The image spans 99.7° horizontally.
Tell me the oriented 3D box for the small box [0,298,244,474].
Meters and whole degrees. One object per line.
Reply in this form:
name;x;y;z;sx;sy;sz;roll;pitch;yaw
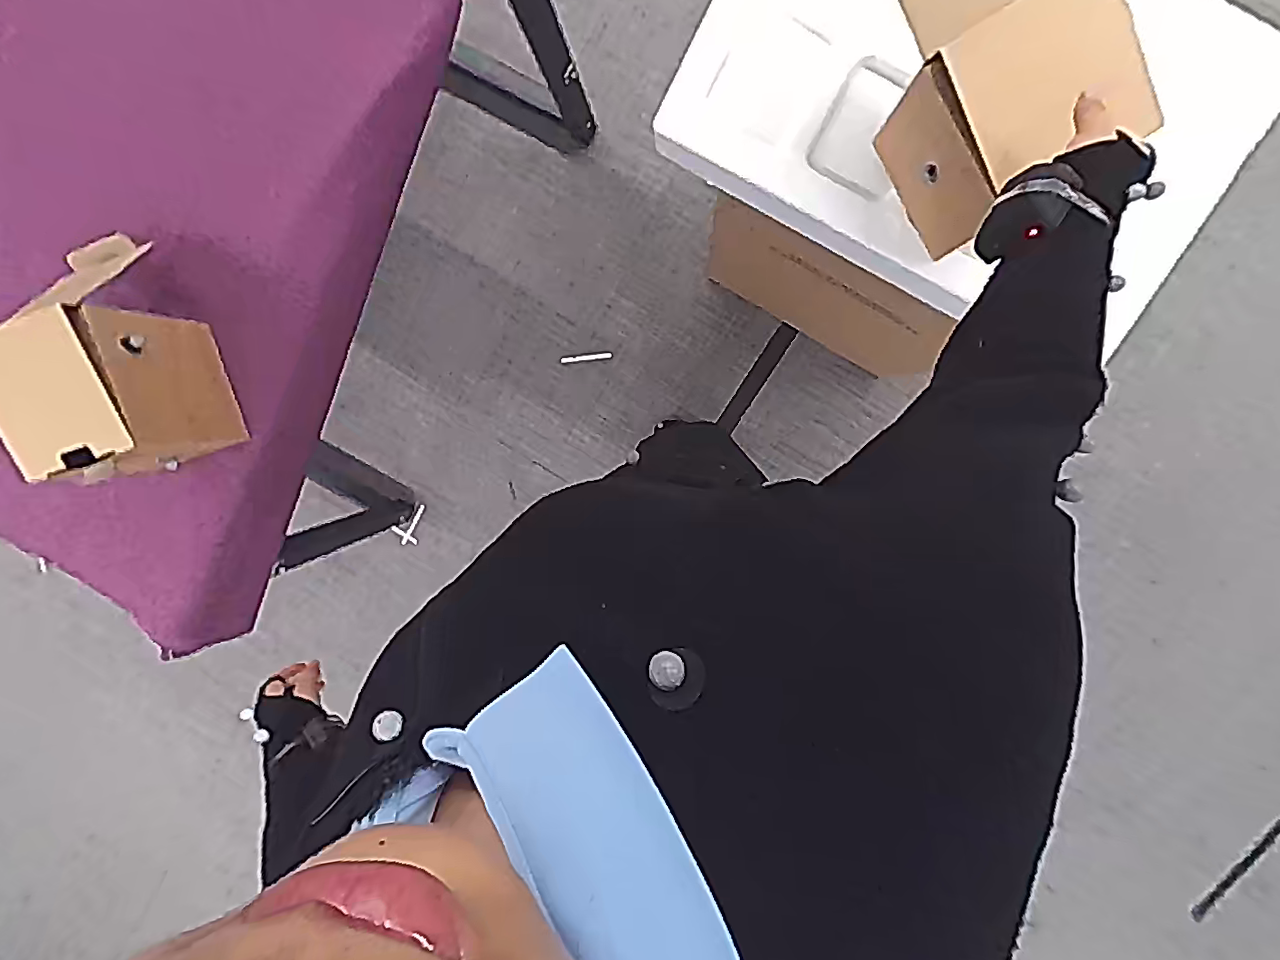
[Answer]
small box;-0.684;-0.117;0.718;0.168;0.176;0.179;-15;95;9
